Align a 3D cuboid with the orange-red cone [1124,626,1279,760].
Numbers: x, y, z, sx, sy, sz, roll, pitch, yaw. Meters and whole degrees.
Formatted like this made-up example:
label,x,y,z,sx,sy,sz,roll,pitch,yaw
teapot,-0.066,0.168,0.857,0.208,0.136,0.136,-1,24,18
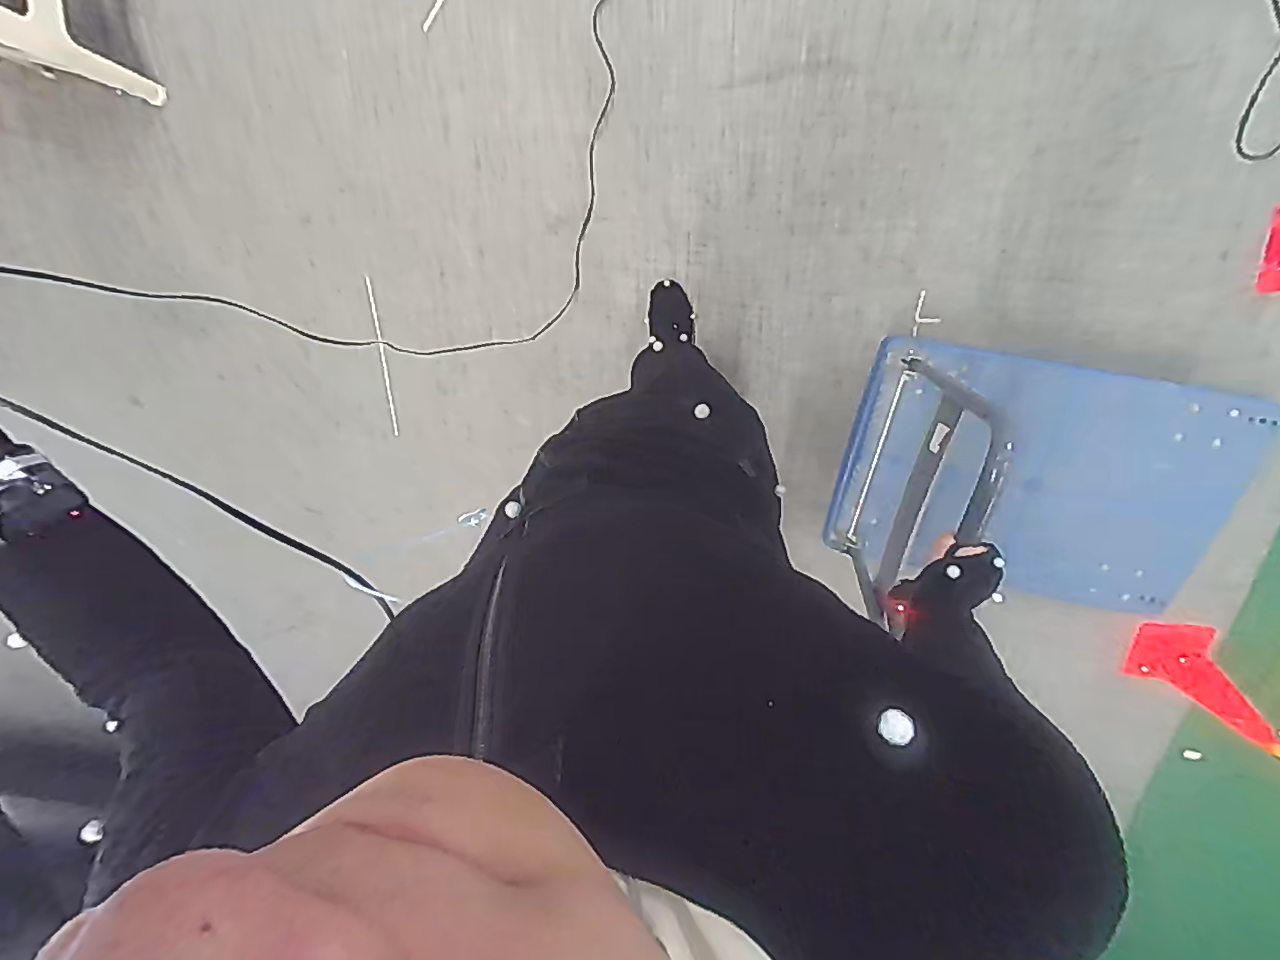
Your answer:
label,x,y,z,sx,sy,sz,roll,pitch,yaw
orange-red cone,1.536,0.579,1.430,0.199,0.360,0.198,3,112,6
